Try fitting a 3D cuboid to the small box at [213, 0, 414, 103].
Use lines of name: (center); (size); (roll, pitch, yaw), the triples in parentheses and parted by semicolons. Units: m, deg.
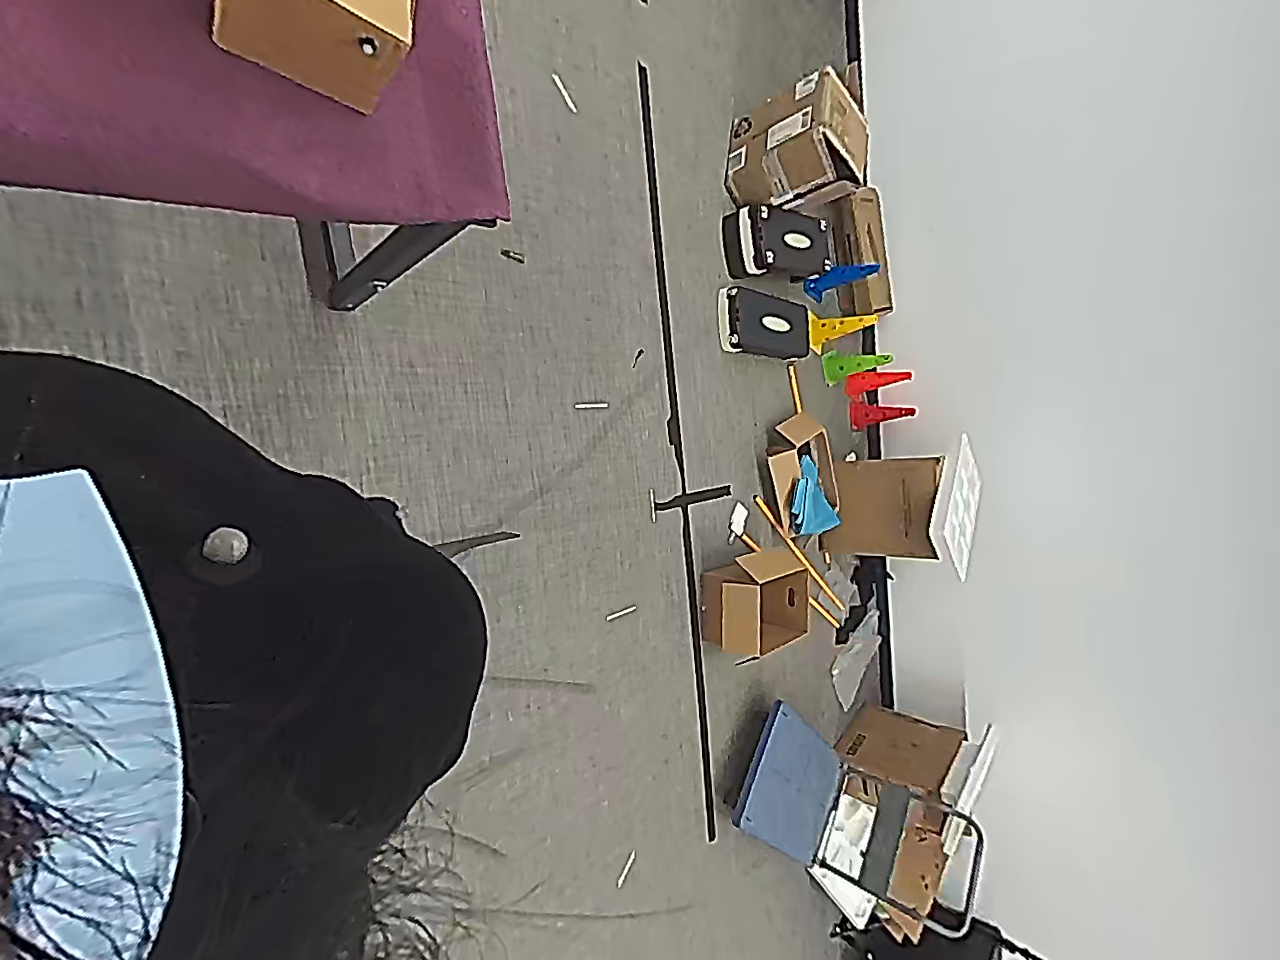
small box: (-0.383, -0.594, 0.635); (0.179, 0.176, 0.168); (2, 89, -44)
